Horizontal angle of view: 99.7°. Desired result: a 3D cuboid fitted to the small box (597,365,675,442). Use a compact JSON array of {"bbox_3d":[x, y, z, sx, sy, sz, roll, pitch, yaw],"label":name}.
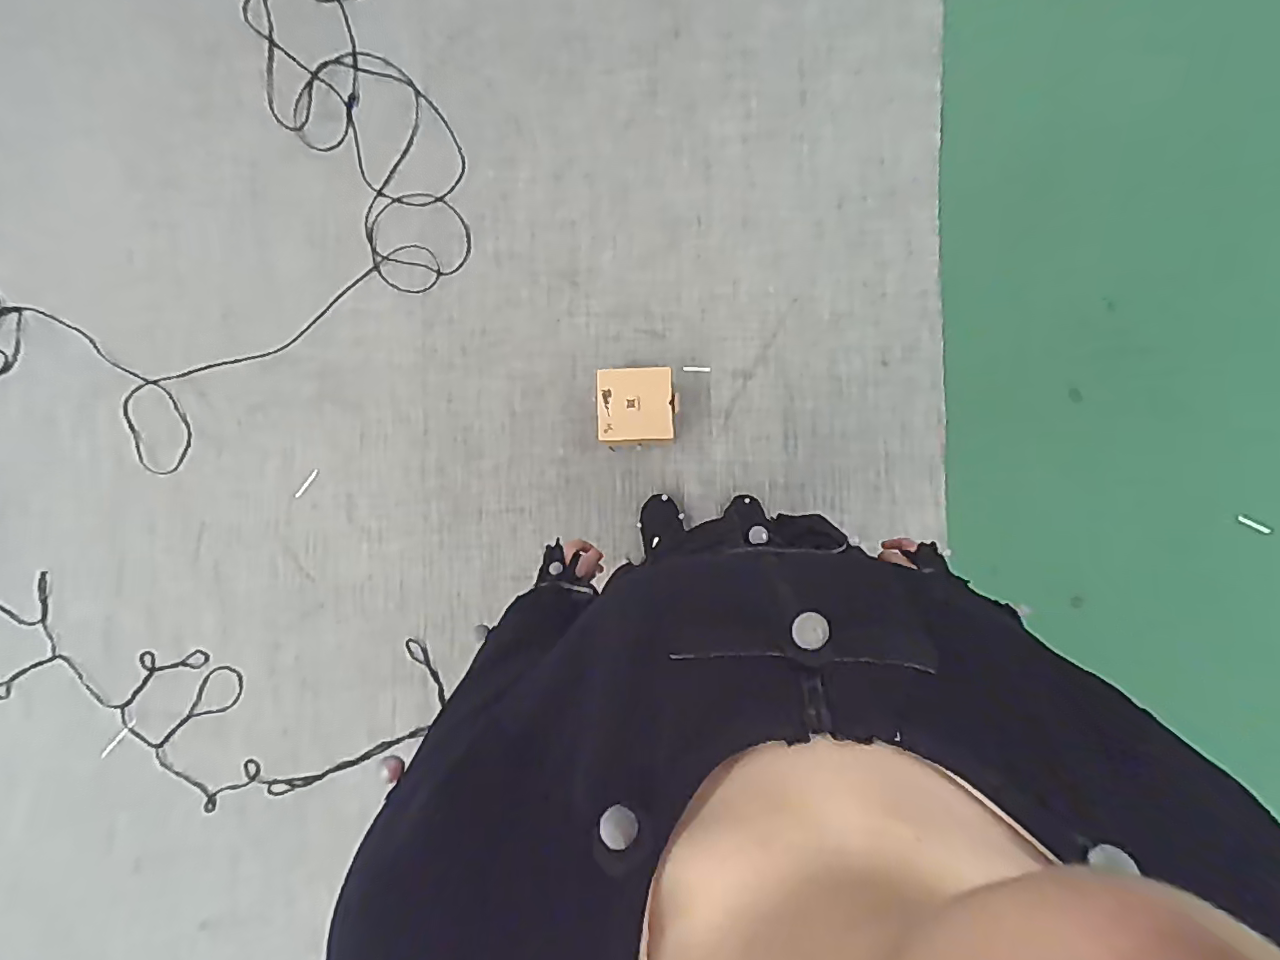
[{"bbox_3d":[-0.005,-0.181,1.313,0.179,0.176,0.168,-2,90,4],"label":"small box"}]
